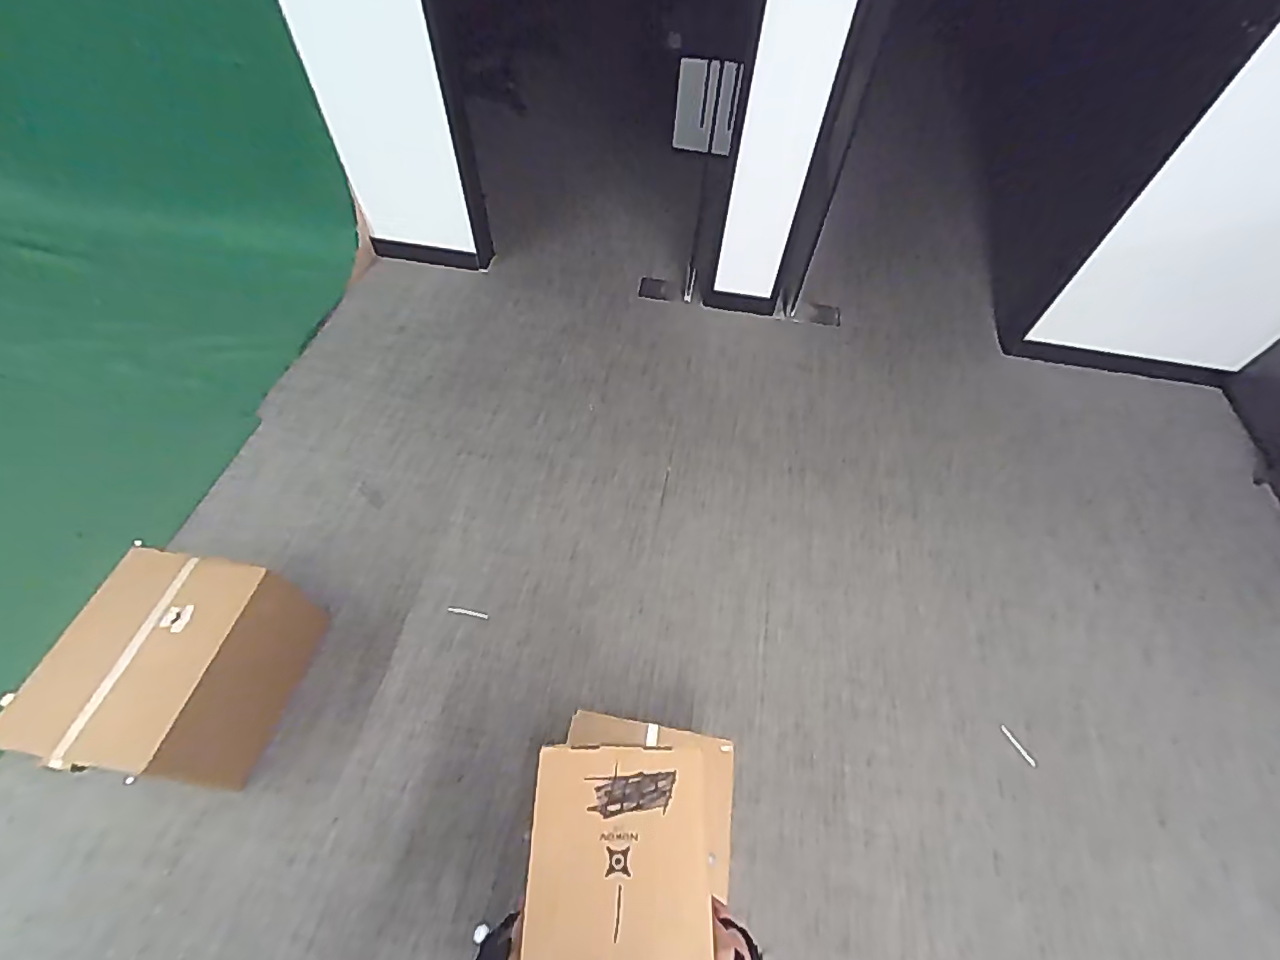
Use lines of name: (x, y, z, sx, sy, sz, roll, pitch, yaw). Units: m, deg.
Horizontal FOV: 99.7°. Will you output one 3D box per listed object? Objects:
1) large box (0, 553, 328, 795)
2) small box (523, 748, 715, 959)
large box: (-0.982, 0.426, 1.184, 0.320, 0.320, 0.408, 9, 54, 4)
small box: (-0.019, 0.391, 0.564, 0.168, 0.176, 0.179, 0, 56, -1)
